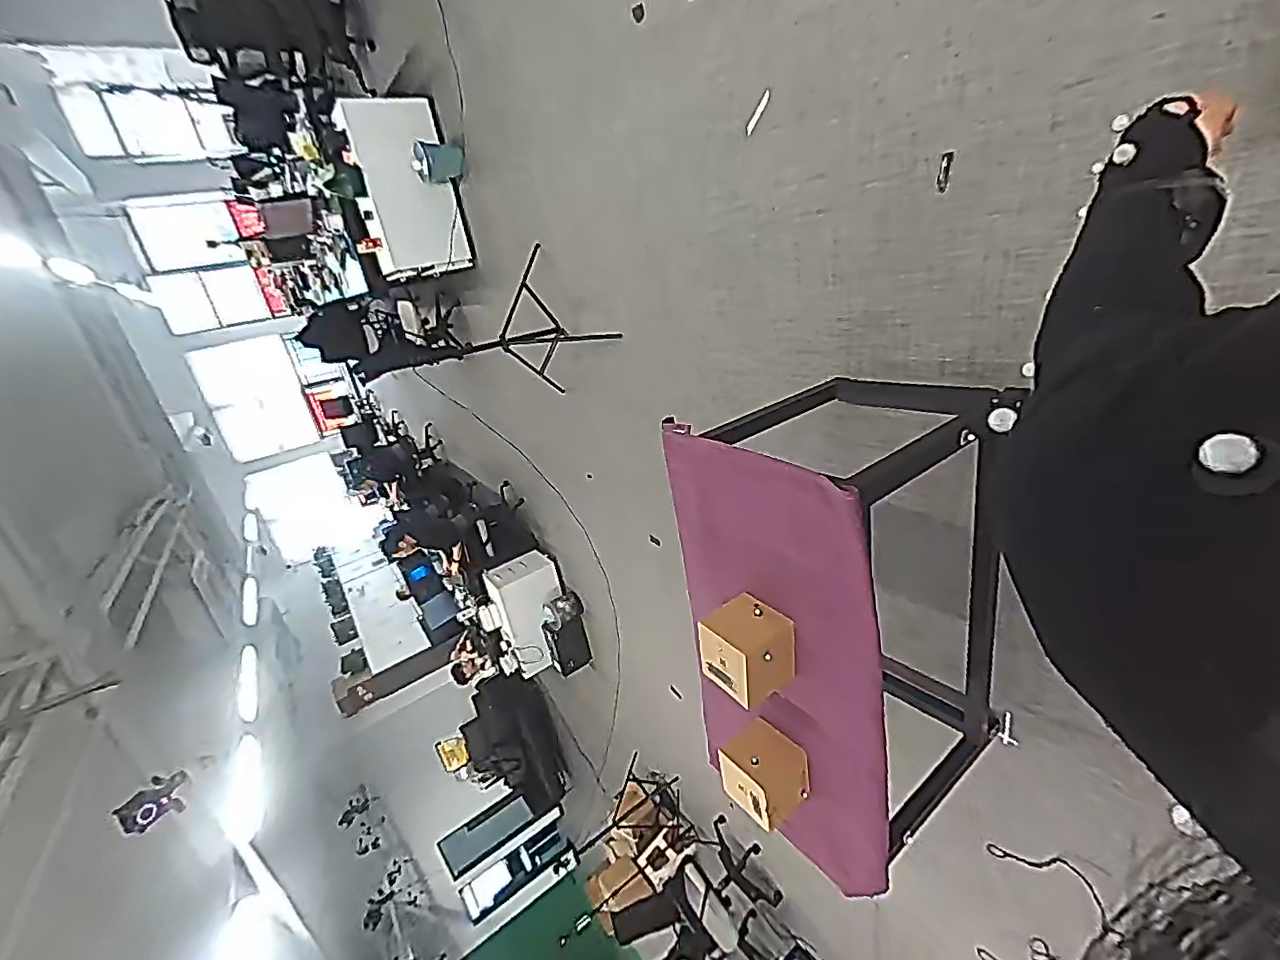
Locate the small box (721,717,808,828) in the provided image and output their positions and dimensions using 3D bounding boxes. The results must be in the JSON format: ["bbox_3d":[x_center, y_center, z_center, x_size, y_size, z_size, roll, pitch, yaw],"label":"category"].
[{"bbox_3d":[0.351,0.799,1.497,0.179,0.176,0.168,21,128,53],"label":"small box"}]
